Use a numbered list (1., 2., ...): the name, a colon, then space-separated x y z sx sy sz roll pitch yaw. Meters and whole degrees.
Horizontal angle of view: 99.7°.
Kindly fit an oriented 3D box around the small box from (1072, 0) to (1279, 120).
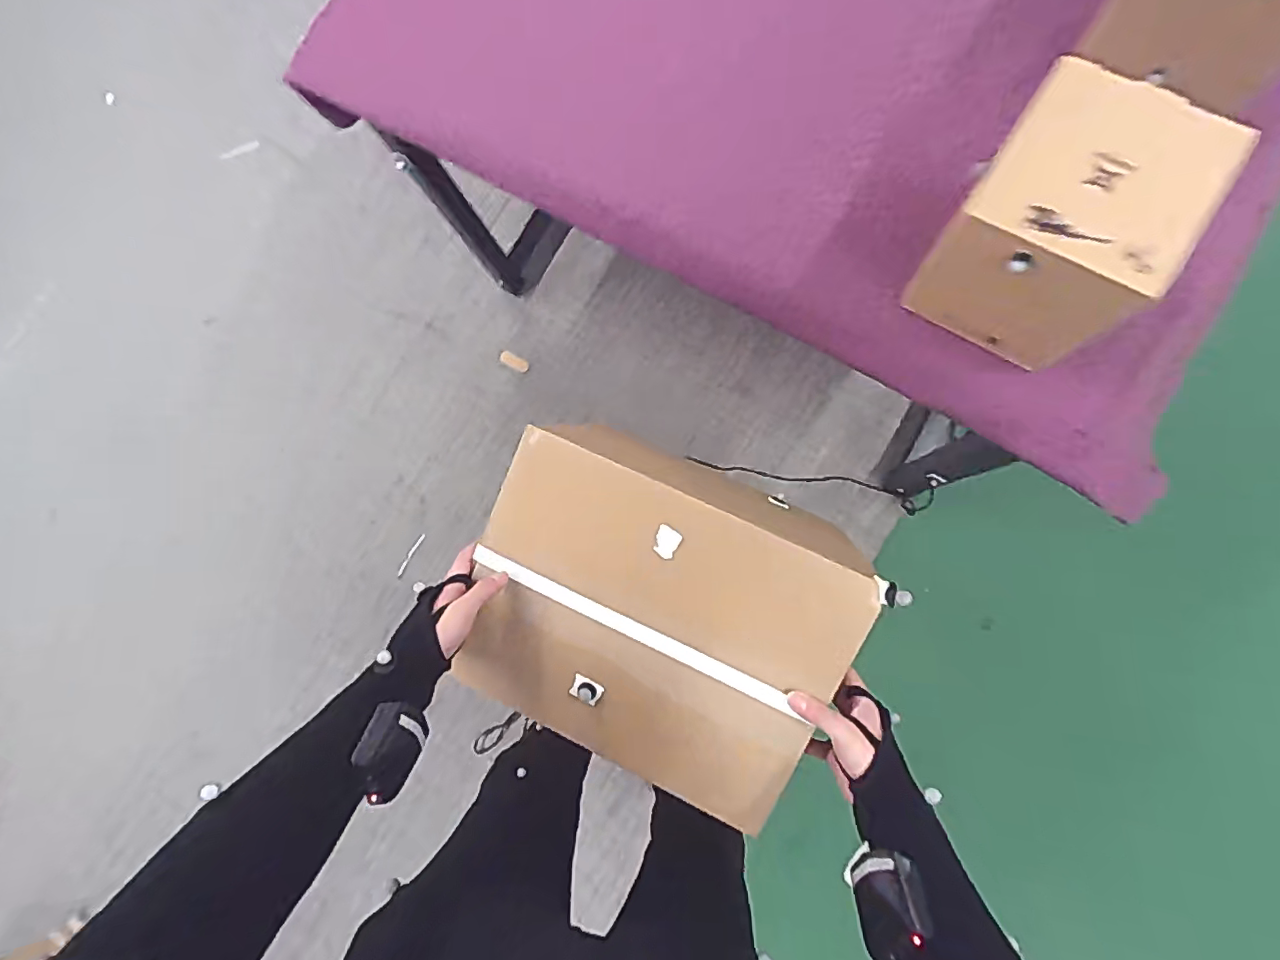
1. small box: 0.588 -0.501 0.544 0.168 0.176 0.179 33 89 13

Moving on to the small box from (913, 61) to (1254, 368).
1. small box: 0.406 -0.244 0.535 0.168 0.176 0.179 33 85 12
